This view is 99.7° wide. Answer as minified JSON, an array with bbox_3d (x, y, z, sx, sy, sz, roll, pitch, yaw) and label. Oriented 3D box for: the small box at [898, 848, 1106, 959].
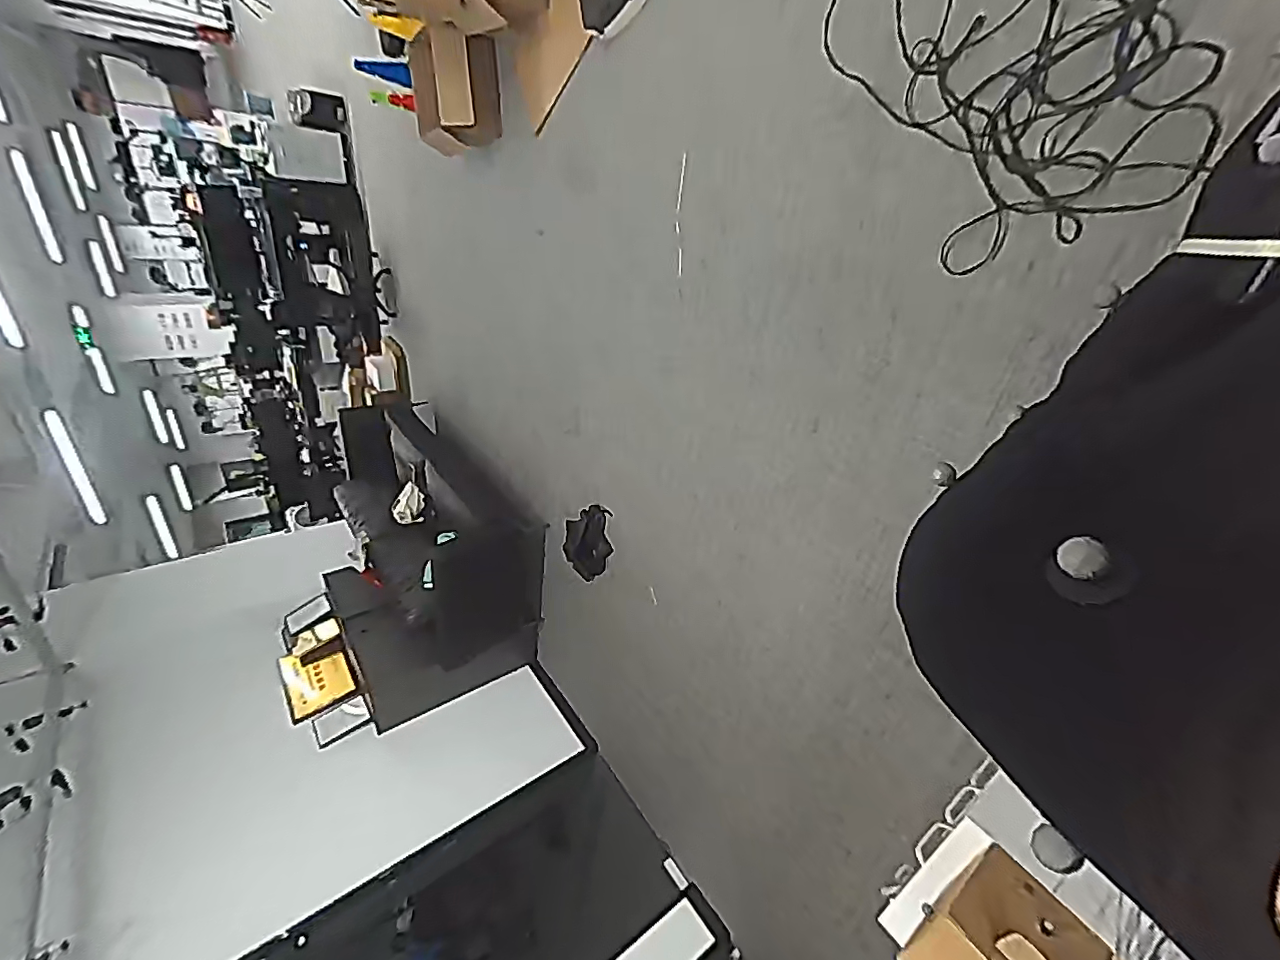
[{"bbox_3d":[0.520,0.691,0.783,0.168,0.176,0.179,40,133,39],"label":"small box"}]
